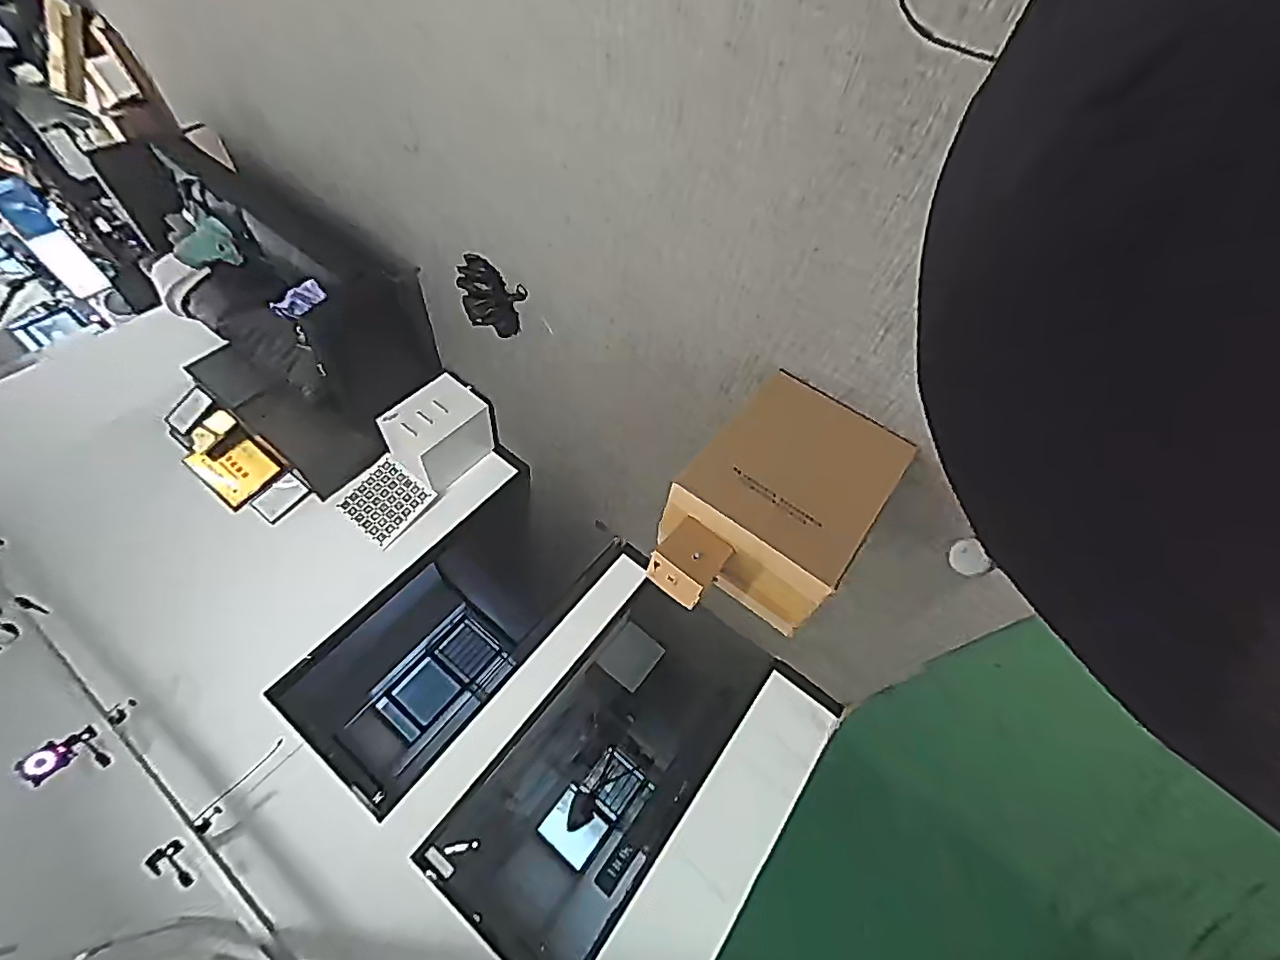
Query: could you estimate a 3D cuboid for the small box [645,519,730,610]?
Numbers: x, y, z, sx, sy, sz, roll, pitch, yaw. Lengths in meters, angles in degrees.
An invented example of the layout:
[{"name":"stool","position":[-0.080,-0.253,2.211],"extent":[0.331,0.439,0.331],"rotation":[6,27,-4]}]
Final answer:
[{"name":"small box","position":[0.144,0.247,1.612],"extent":[0.179,0.176,0.168],"rotation":[35,145,14]}]
